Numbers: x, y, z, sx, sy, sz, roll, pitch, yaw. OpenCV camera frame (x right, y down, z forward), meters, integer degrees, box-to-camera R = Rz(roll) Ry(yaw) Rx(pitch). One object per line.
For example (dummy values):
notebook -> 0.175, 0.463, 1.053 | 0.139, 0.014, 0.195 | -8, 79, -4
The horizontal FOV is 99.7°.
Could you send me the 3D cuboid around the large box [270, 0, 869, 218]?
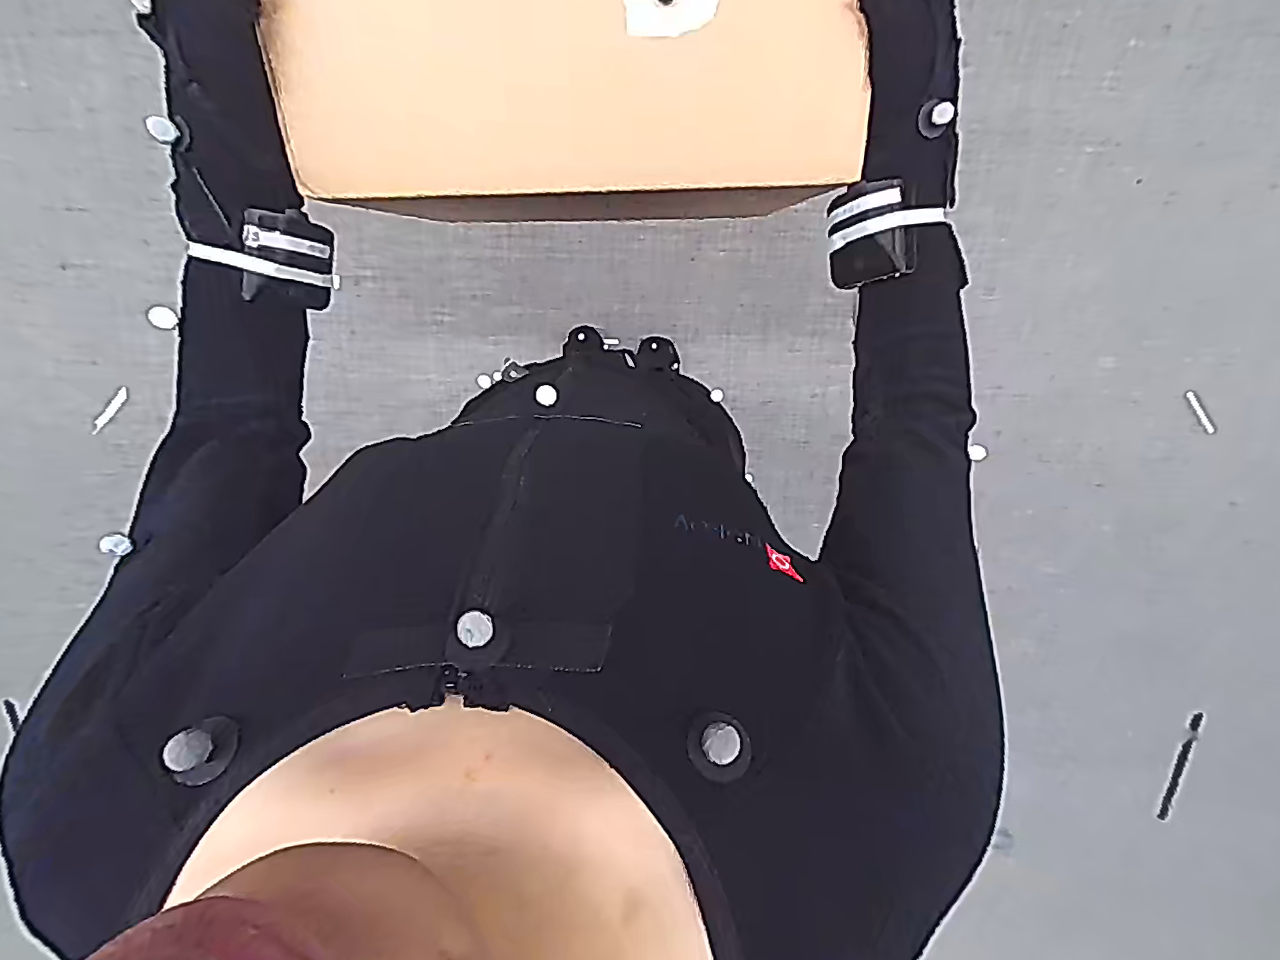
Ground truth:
large box -> -0.049, -0.420, 0.476 | 0.408, 0.320, 0.320 | -1, 113, 1
